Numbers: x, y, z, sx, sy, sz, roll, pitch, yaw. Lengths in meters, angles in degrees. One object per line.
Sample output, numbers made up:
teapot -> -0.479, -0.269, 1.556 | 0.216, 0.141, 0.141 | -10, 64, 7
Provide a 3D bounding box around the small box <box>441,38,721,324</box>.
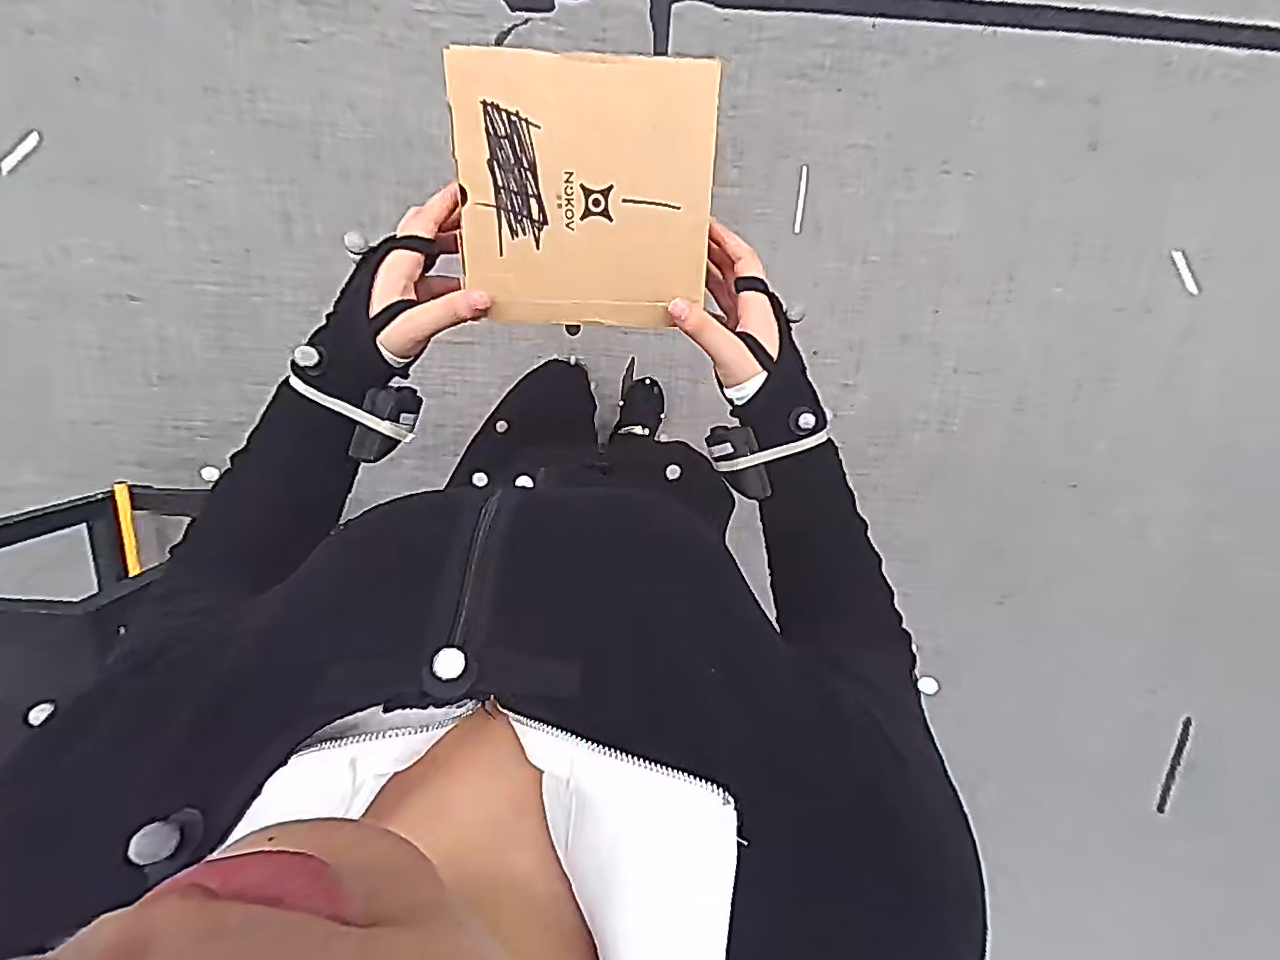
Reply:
small box -> -0.041, -0.222, 0.436 | 0.179, 0.176, 0.168 | 1, 113, -2
